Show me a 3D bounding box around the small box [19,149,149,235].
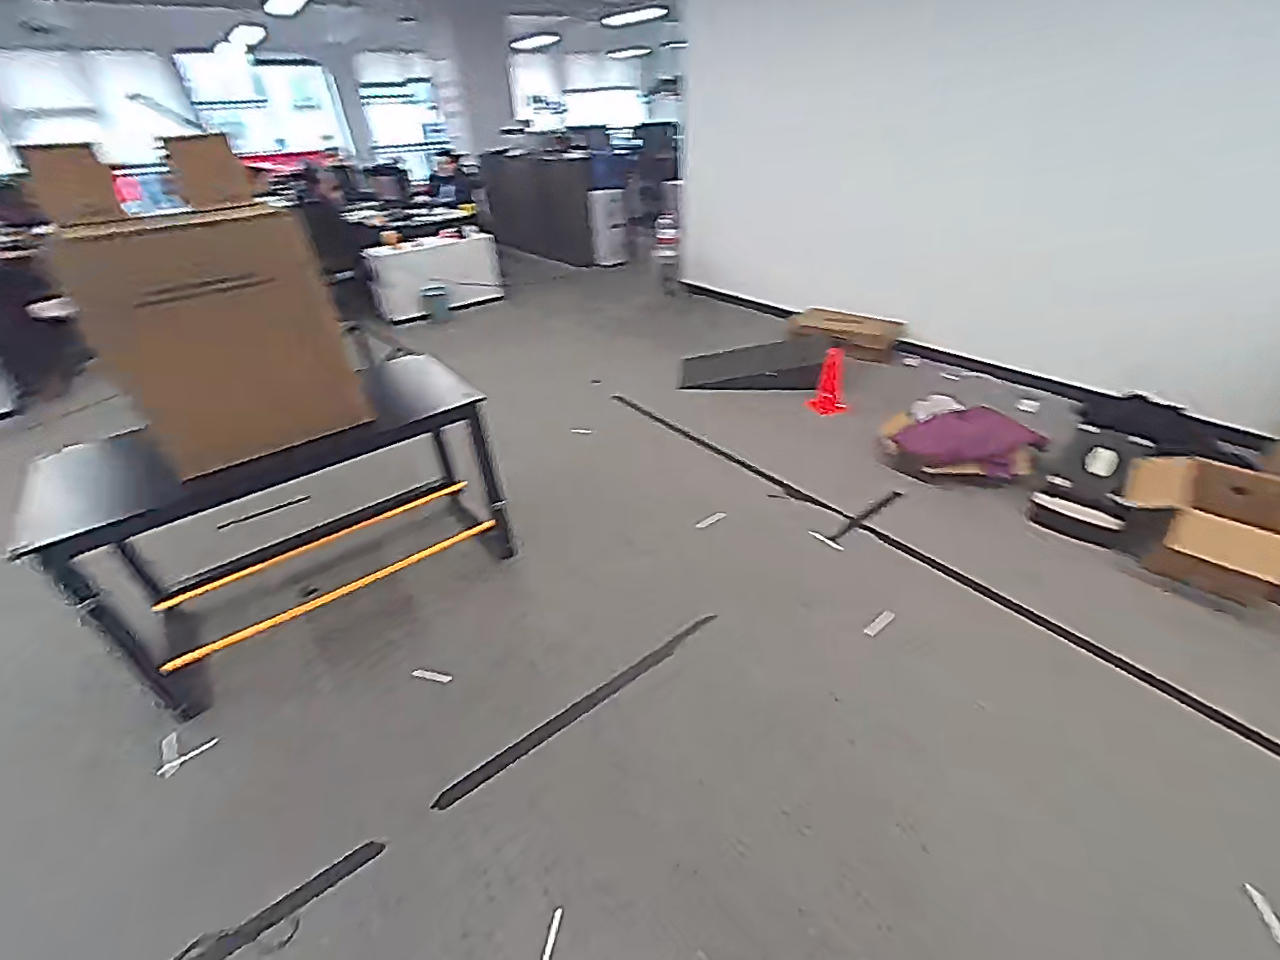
[{"bbox_3d":[-1.359,-0.711,1.334,0.168,0.176,0.179,-28,41,-30],"label":"small box"}]

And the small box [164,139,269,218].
[{"bbox_3d":[-1.140,-0.813,1.458,0.168,0.176,0.179,-28,41,-30],"label":"small box"}]
